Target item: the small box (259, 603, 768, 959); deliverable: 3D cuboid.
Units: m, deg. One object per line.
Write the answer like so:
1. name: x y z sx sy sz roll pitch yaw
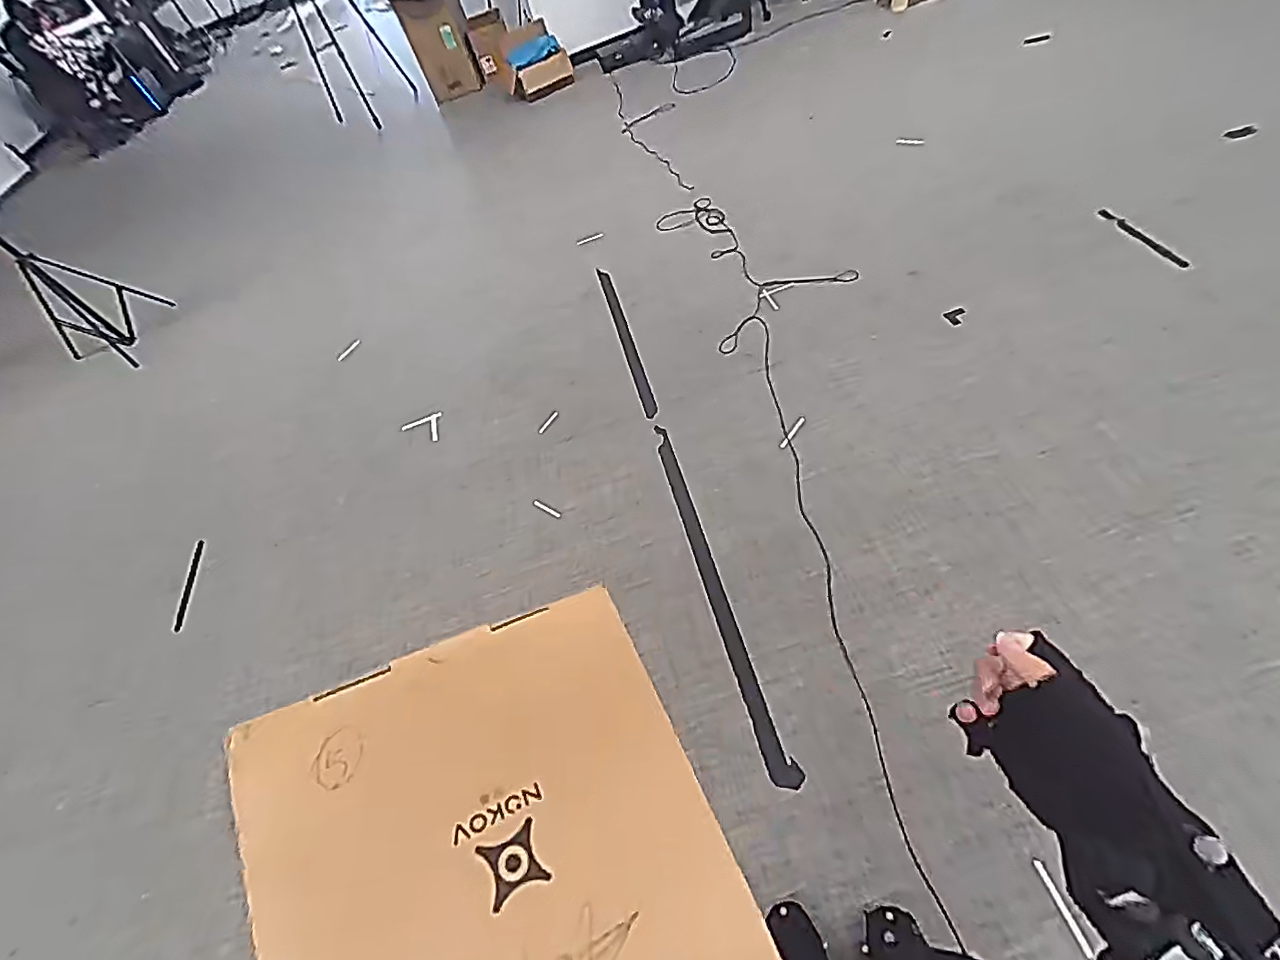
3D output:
1. small box: -0.073 0.197 0.288 0.168 0.176 0.179 -17 65 -26
